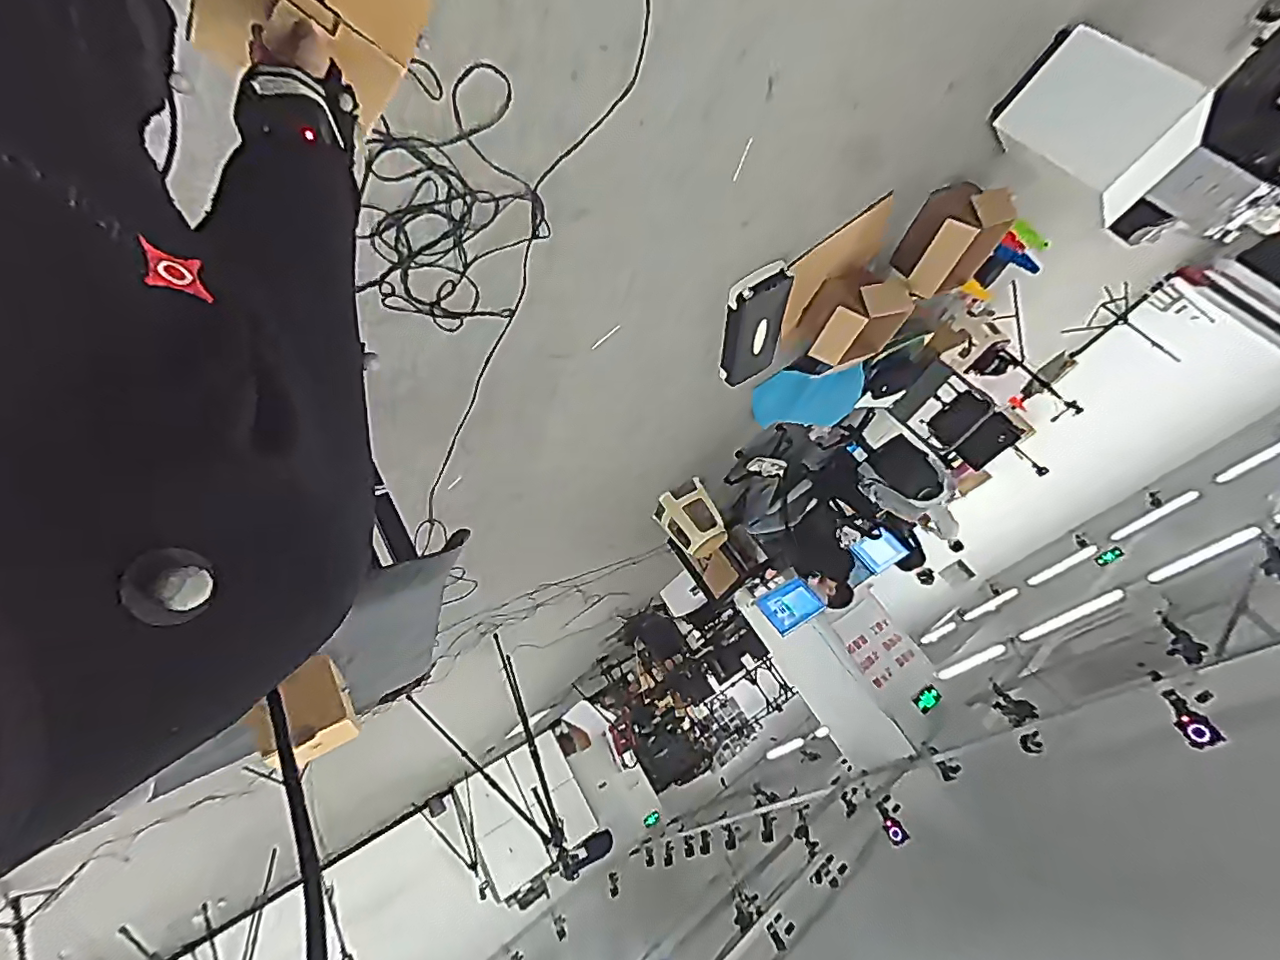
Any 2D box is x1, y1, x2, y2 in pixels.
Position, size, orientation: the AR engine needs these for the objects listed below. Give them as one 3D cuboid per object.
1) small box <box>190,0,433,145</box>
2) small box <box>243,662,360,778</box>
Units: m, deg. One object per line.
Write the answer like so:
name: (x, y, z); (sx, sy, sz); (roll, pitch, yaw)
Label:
small box: (-0.320, -0.495, 0.543); (0.168, 0.179, 0.176); (22, 162, -40)
small box: (-0.758, 0.534, 1.216); (0.168, 0.176, 0.179); (-22, 155, -28)
